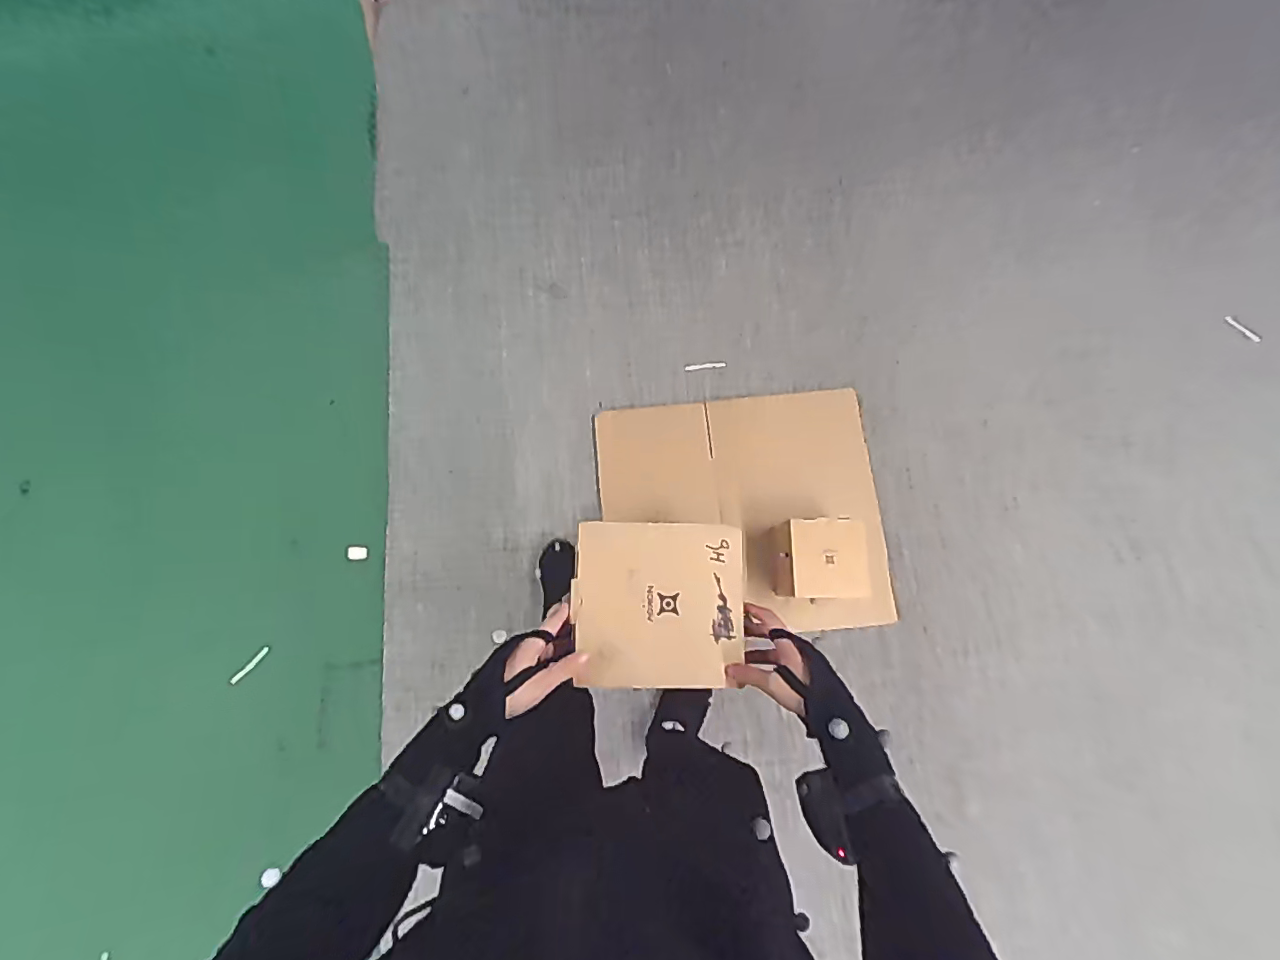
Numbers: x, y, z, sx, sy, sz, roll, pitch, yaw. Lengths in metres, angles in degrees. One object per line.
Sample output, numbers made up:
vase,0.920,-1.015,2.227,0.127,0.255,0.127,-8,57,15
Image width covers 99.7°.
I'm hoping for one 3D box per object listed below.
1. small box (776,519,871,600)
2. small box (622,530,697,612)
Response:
small box,0.416,0.187,1.252,0.168,0.176,0.179,-1,78,1
small box,0.046,0.212,1.262,0.168,0.176,0.179,0,79,2
